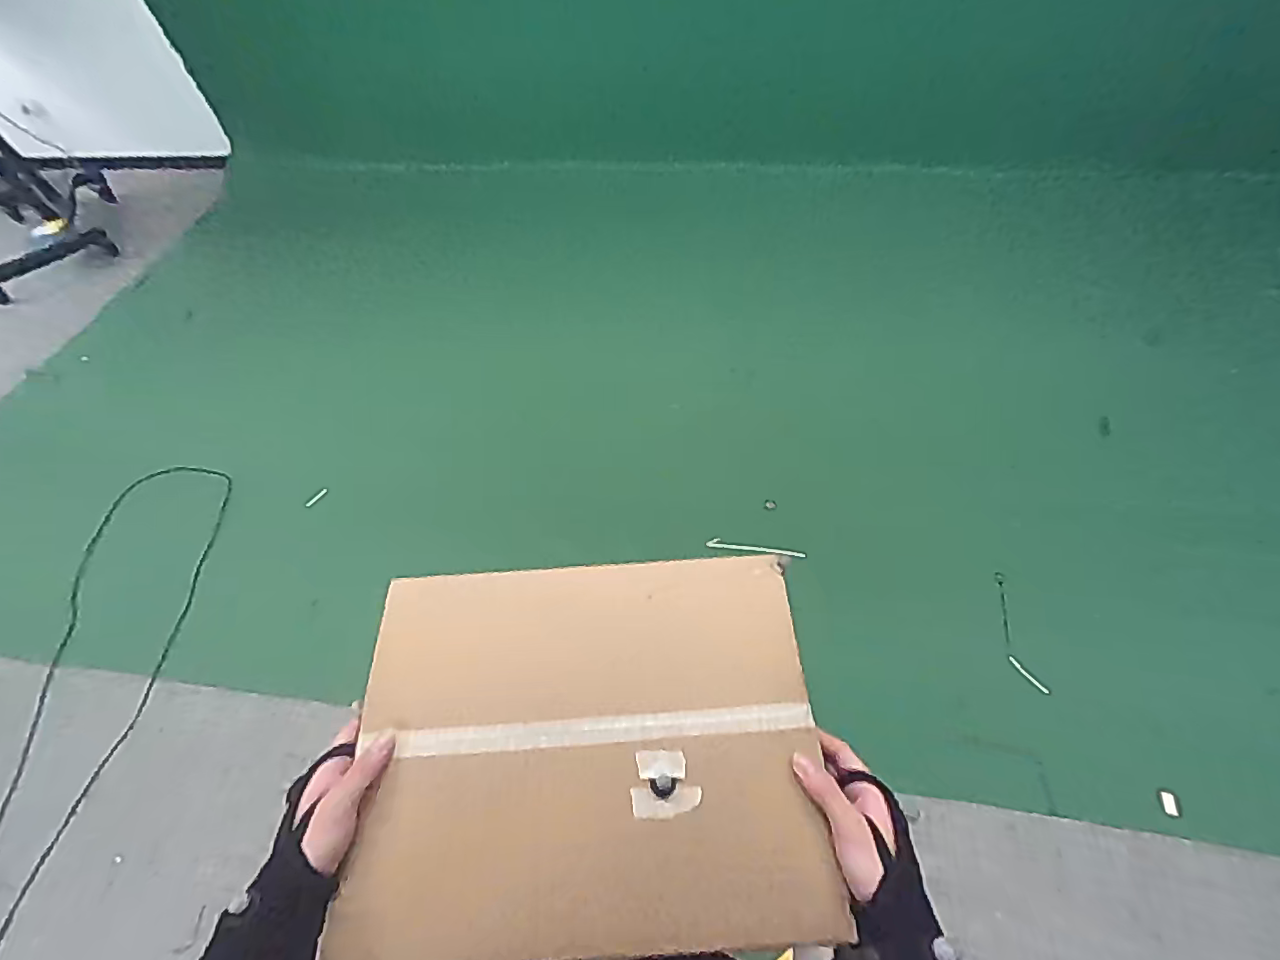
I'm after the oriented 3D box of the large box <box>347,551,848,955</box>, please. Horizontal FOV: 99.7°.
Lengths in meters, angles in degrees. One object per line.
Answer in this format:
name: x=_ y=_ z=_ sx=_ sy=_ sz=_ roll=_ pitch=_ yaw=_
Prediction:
large box: x=-0.040 y=0.300 z=0.625 sx=0.408 sy=0.320 sz=0.320 roll=-4 pitch=59 yaw=-1
